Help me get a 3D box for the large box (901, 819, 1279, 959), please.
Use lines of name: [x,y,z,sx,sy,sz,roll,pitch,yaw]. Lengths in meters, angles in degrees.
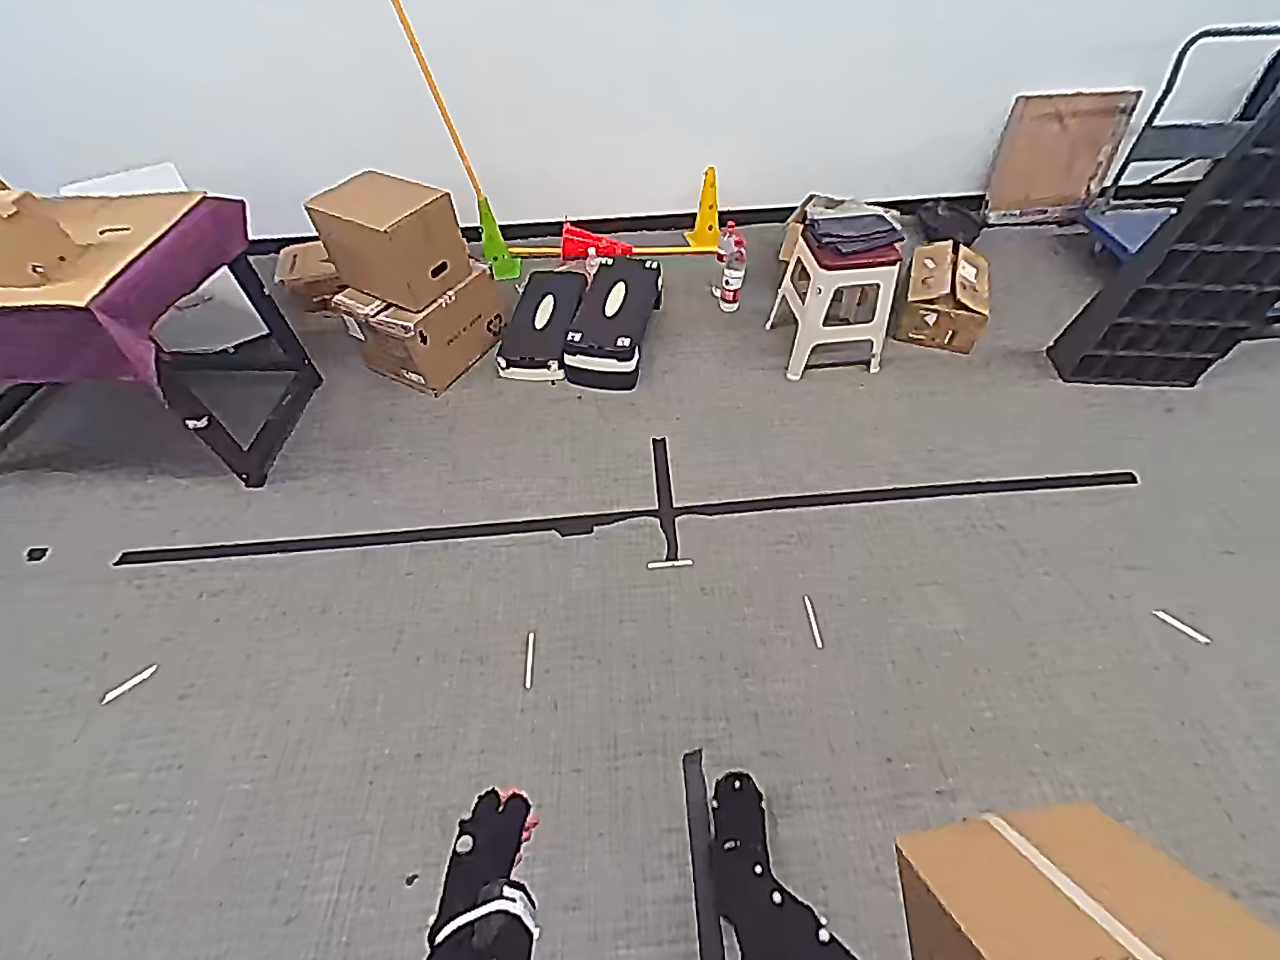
large box: [0.569,0.686,0.624,0.320,0.408,0.320,-9,90,-3]
